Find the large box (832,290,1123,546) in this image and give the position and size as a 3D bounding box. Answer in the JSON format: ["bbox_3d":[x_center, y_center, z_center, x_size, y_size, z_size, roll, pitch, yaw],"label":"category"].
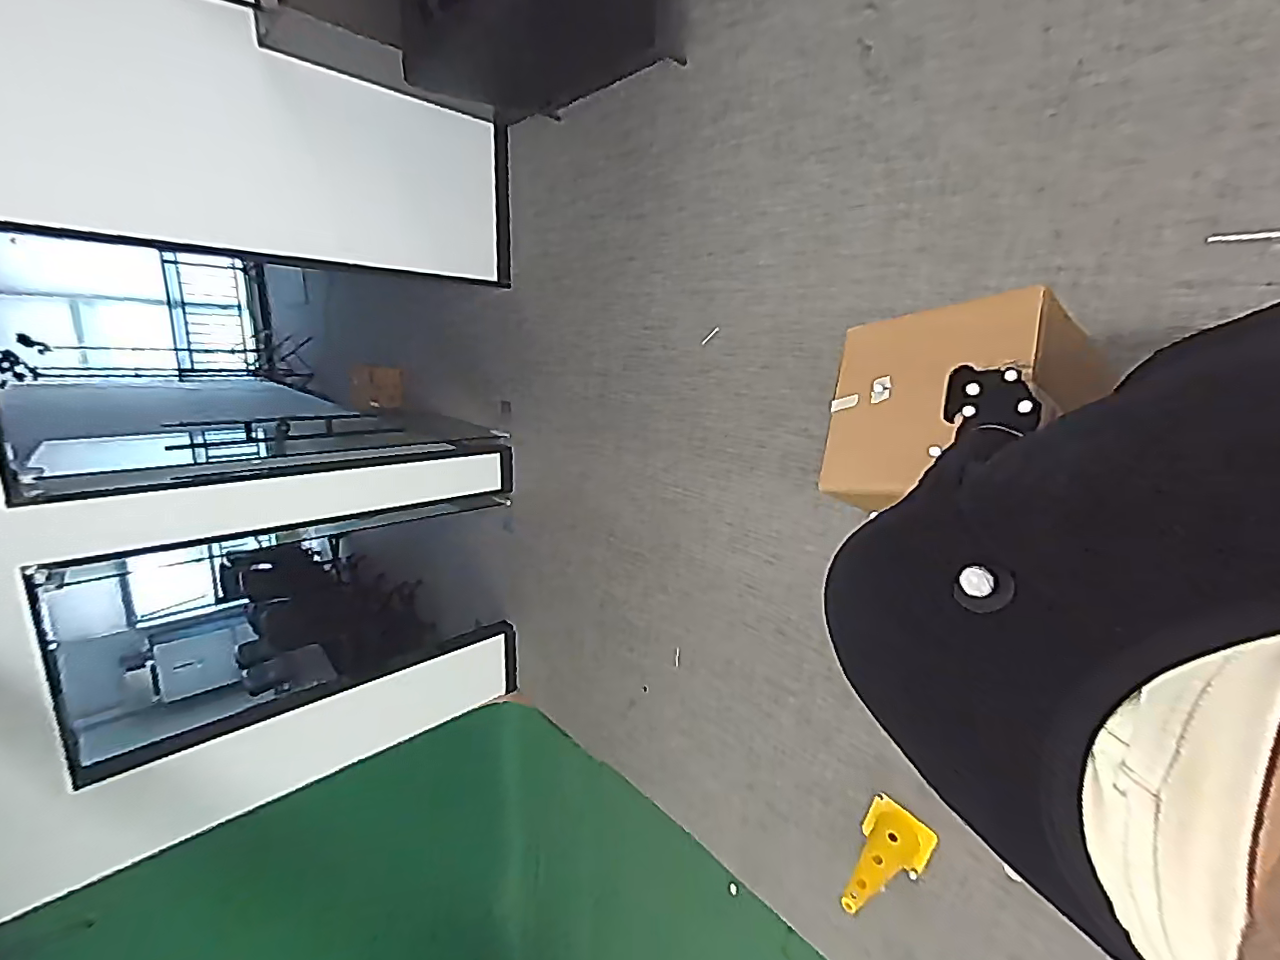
[{"bbox_3d":[0.602,-0.078,0.967,0.320,0.408,0.320,2,78,54],"label":"large box"}]
